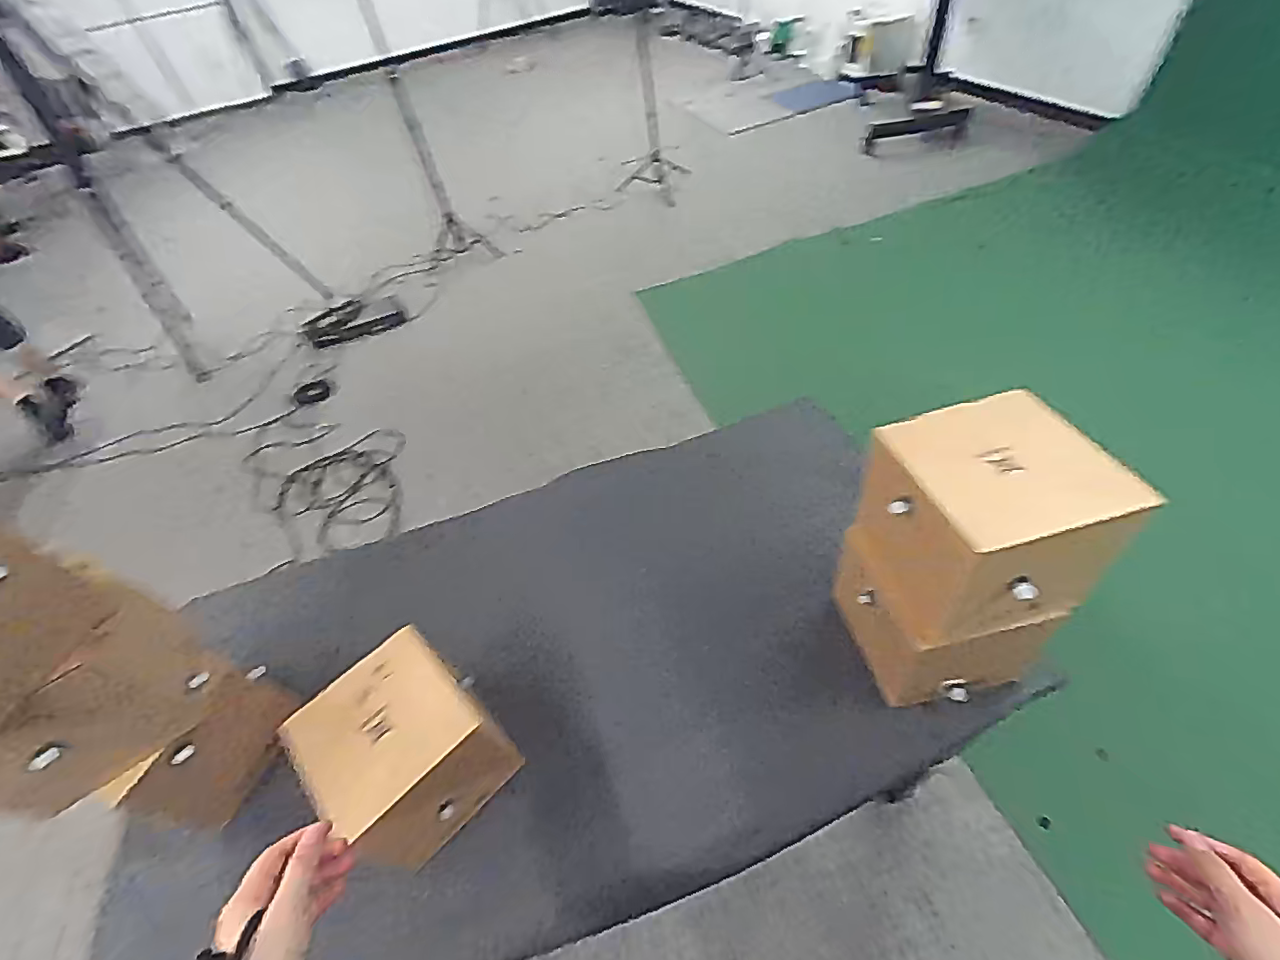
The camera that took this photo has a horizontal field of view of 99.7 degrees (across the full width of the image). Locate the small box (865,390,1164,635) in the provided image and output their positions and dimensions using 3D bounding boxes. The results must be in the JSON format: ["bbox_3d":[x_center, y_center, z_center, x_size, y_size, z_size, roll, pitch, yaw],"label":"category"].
[{"bbox_3d":[0.357,0.040,0.562,0.168,0.176,0.179,-16,44,-1],"label":"small box"}]

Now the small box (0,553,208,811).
[{"bbox_3d":[-0.616,0.220,0.589,0.179,0.176,0.168,-34,53,-18],"label":"small box"}]

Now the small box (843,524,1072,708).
[{"bbox_3d":[0.370,0.155,0.677,0.168,0.176,0.179,-14,46,0],"label":"small box"}]

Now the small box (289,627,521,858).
[{"bbox_3d":[-0.272,0.321,0.658,0.168,0.176,0.179,-39,54,-23],"label":"small box"}]

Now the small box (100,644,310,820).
[{"bbox_3d":[-0.595,0.323,0.716,0.179,0.176,0.168,12,53,19],"label":"small box"}]
